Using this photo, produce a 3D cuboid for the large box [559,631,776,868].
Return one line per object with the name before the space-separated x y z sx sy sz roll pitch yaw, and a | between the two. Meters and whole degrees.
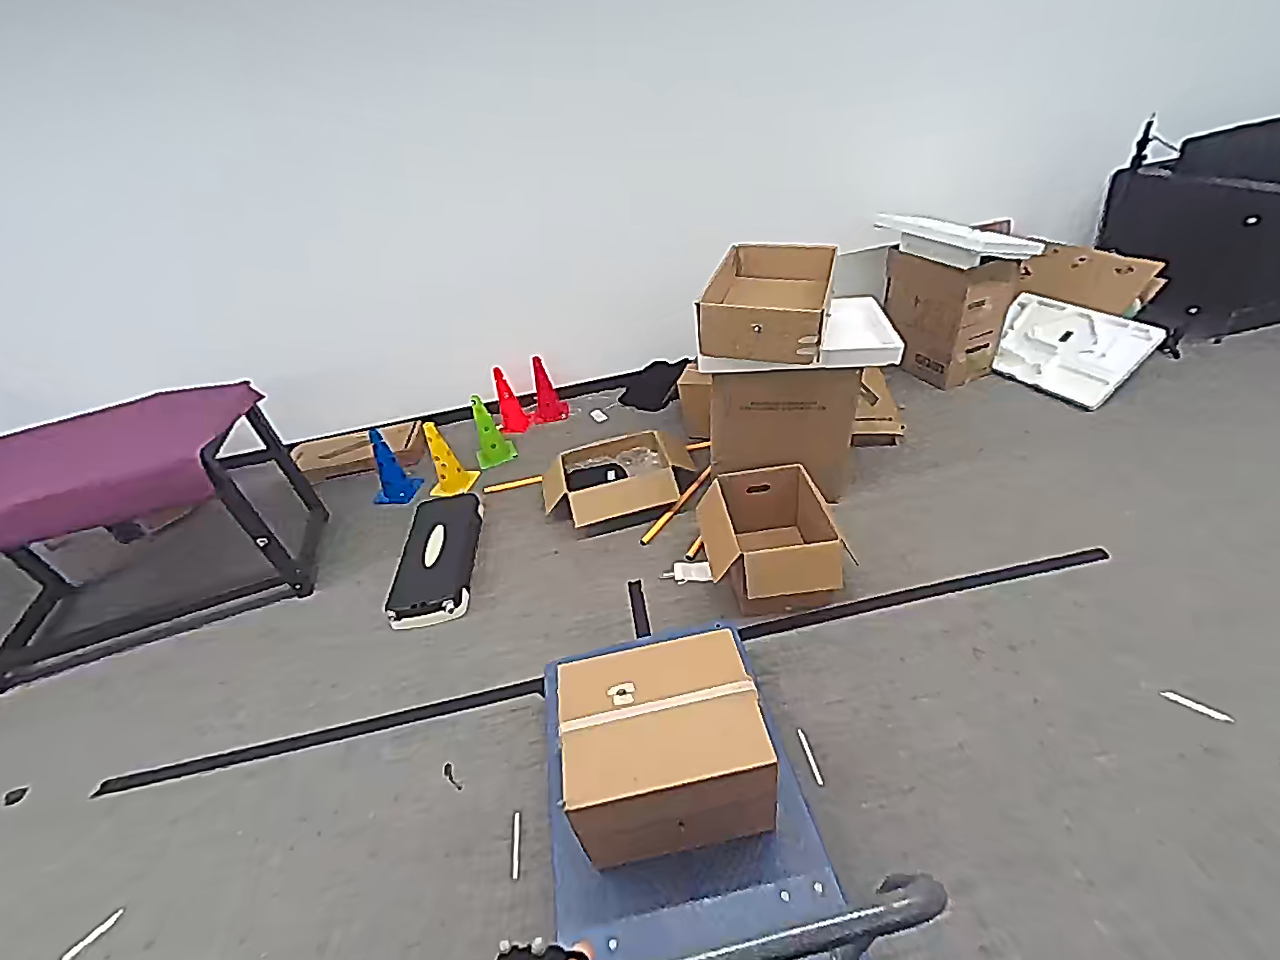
large box | 0.058 0.597 1.209 0.408 0.320 0.320 -13 36 -2
